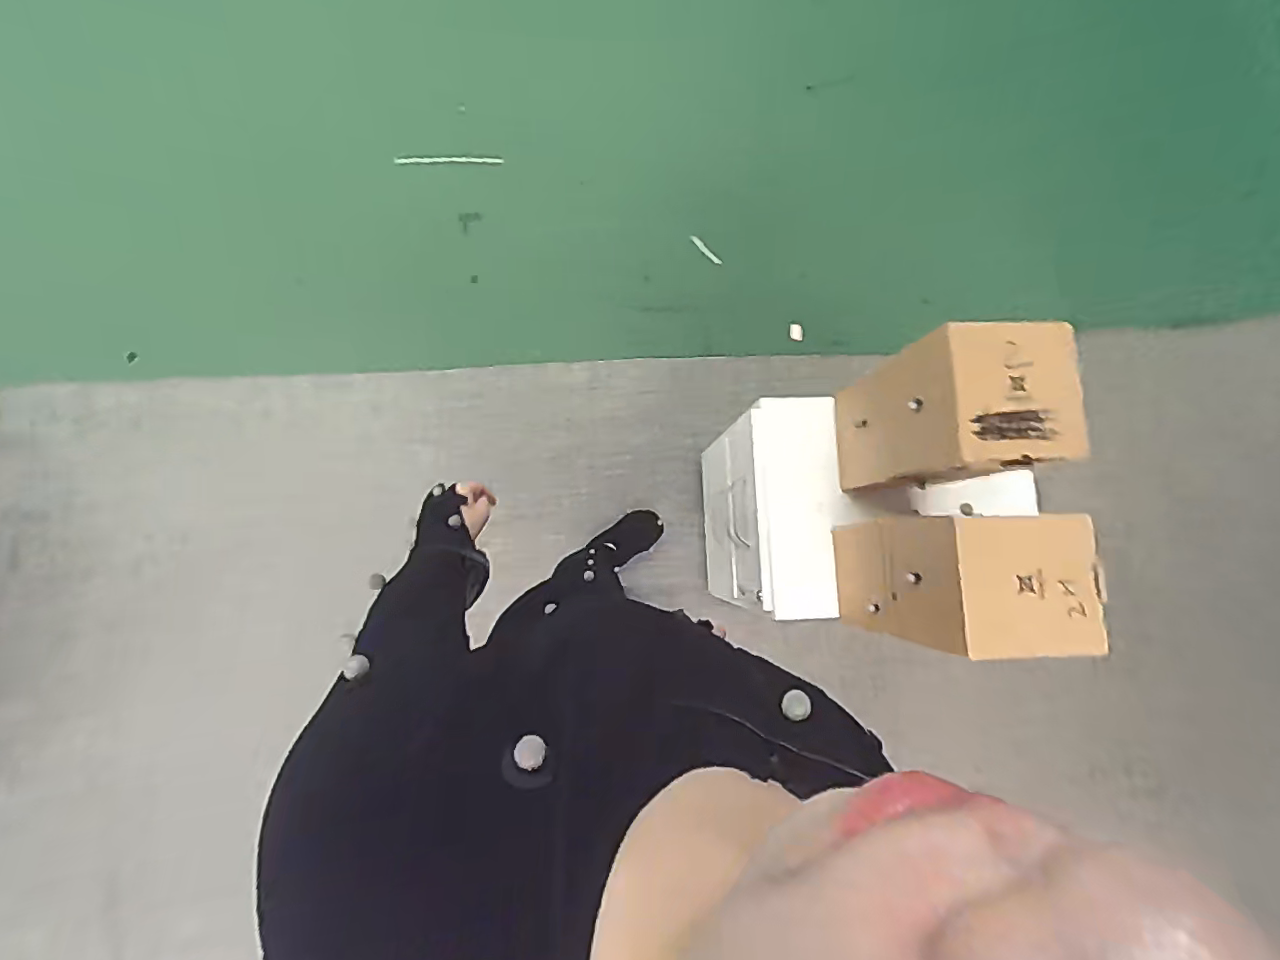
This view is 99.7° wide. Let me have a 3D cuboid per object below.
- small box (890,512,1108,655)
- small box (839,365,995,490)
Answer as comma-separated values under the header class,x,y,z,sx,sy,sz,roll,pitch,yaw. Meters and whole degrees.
class,x,y,z,sx,sy,sz,roll,pitch,yaw
small box,0.447,0.131,0.706,0.179,0.176,0.168,0,83,-5
small box,0.446,-0.080,0.899,0.168,0.176,0.179,-2,84,-4
